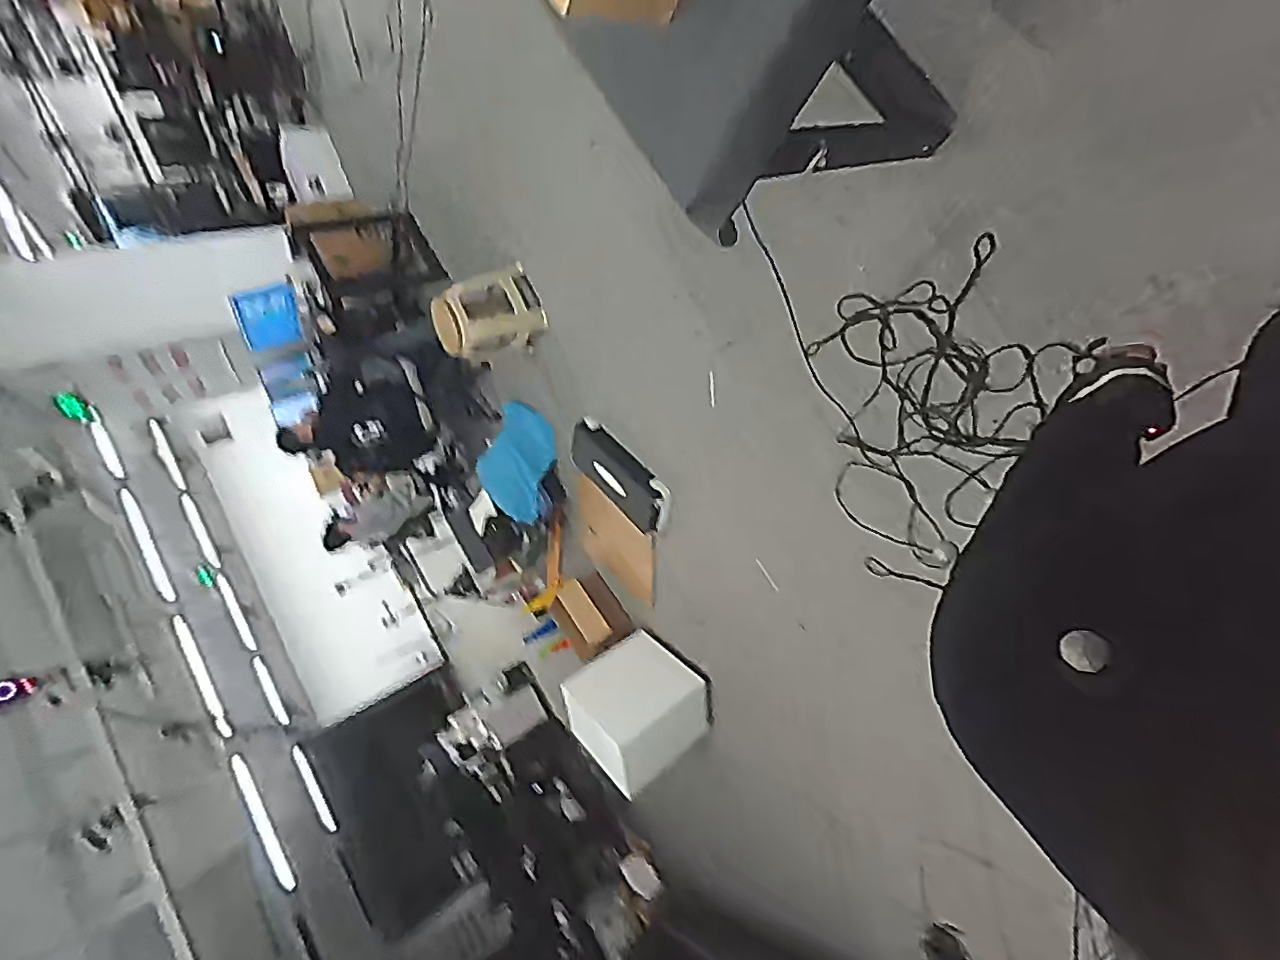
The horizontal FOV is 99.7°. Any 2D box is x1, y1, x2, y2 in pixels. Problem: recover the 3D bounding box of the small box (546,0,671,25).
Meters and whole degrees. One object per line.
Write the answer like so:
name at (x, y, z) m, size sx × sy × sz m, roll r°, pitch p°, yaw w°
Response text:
small box at (-0.042, -0.671, 0.623) m, size 0.179 × 0.176 × 0.168 m, roll 58°, pitch 148°, yaw 12°
